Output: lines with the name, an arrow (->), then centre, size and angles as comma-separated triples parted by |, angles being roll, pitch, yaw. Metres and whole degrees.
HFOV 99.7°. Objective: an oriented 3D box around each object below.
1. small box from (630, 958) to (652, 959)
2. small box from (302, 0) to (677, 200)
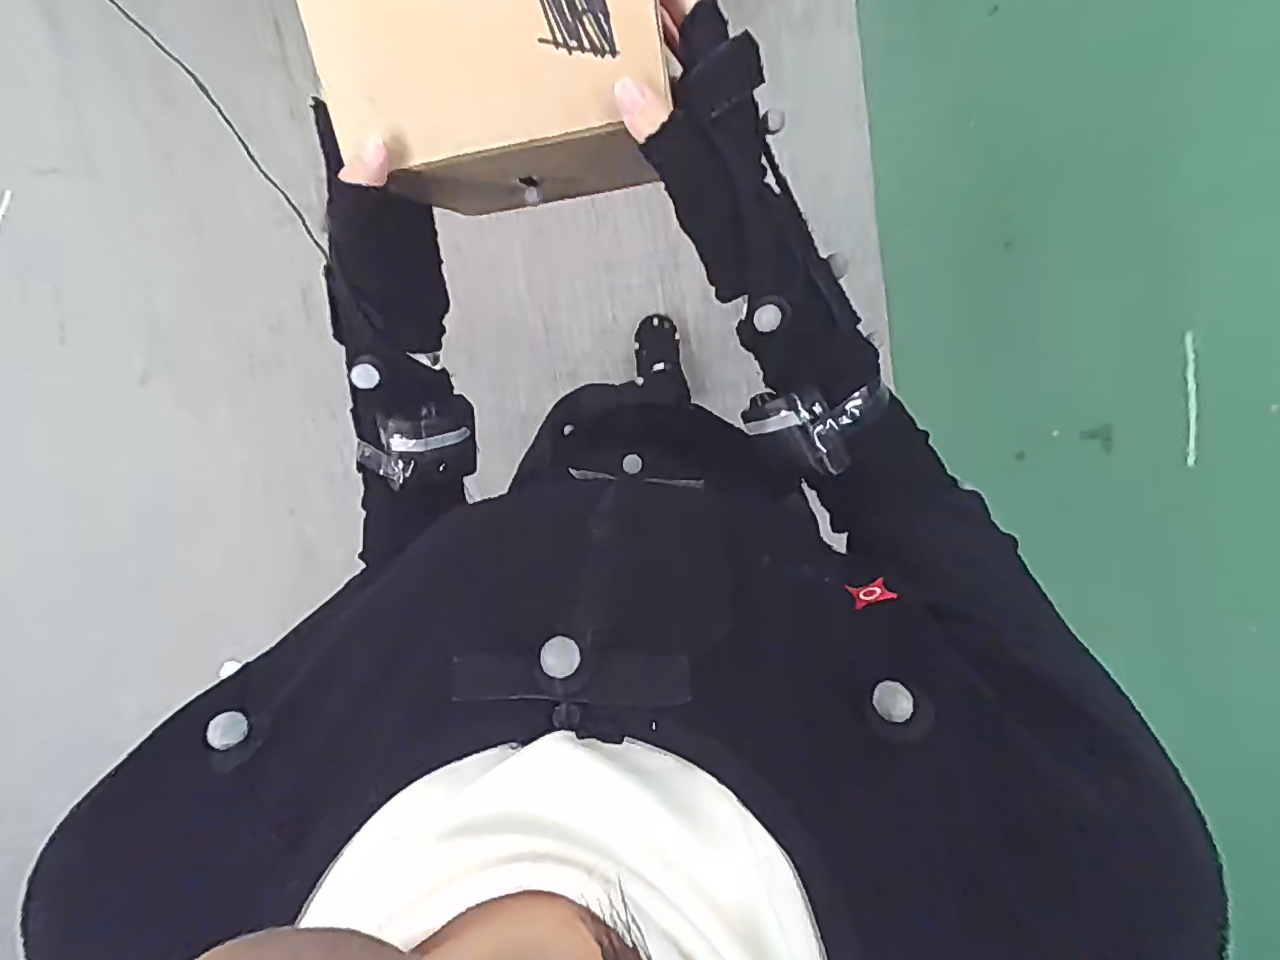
small box -> -0.040, 1.247, 1.238 | 0.179, 0.176, 0.168 | -13, 97, 8
small box -> -0.072, -0.279, 0.321 | 0.179, 0.176, 0.168 | -6, 109, 9
